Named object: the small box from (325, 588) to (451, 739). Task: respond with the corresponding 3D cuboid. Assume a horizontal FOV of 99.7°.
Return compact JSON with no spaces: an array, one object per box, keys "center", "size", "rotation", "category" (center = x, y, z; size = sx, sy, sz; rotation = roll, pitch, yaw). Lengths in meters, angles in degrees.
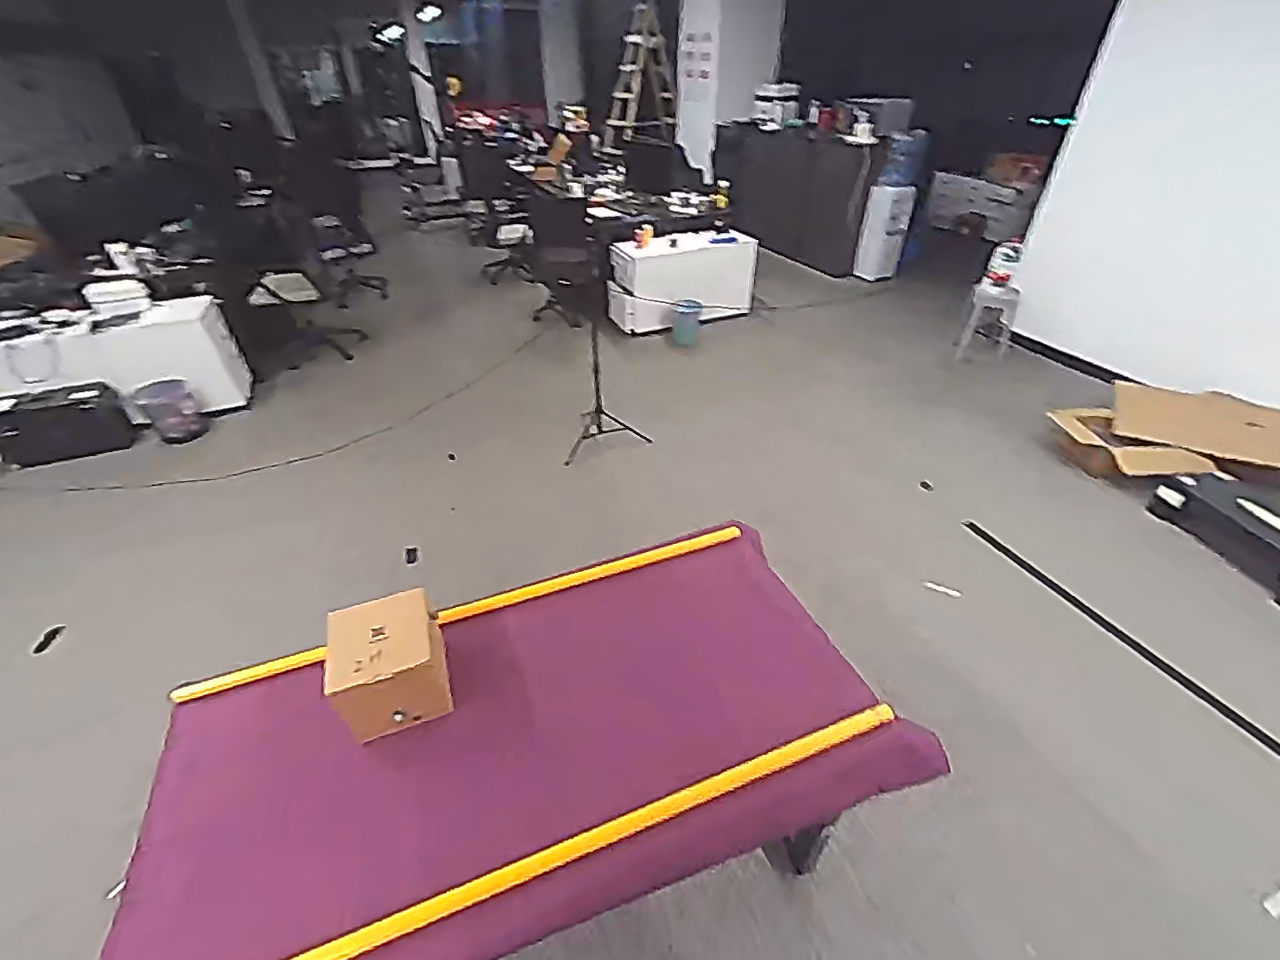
[{"center":[-0.456,0.334,0.994],"size":[0.168,0.176,0.179],"rotation":[-14,41,-16],"category":"small box"}]
